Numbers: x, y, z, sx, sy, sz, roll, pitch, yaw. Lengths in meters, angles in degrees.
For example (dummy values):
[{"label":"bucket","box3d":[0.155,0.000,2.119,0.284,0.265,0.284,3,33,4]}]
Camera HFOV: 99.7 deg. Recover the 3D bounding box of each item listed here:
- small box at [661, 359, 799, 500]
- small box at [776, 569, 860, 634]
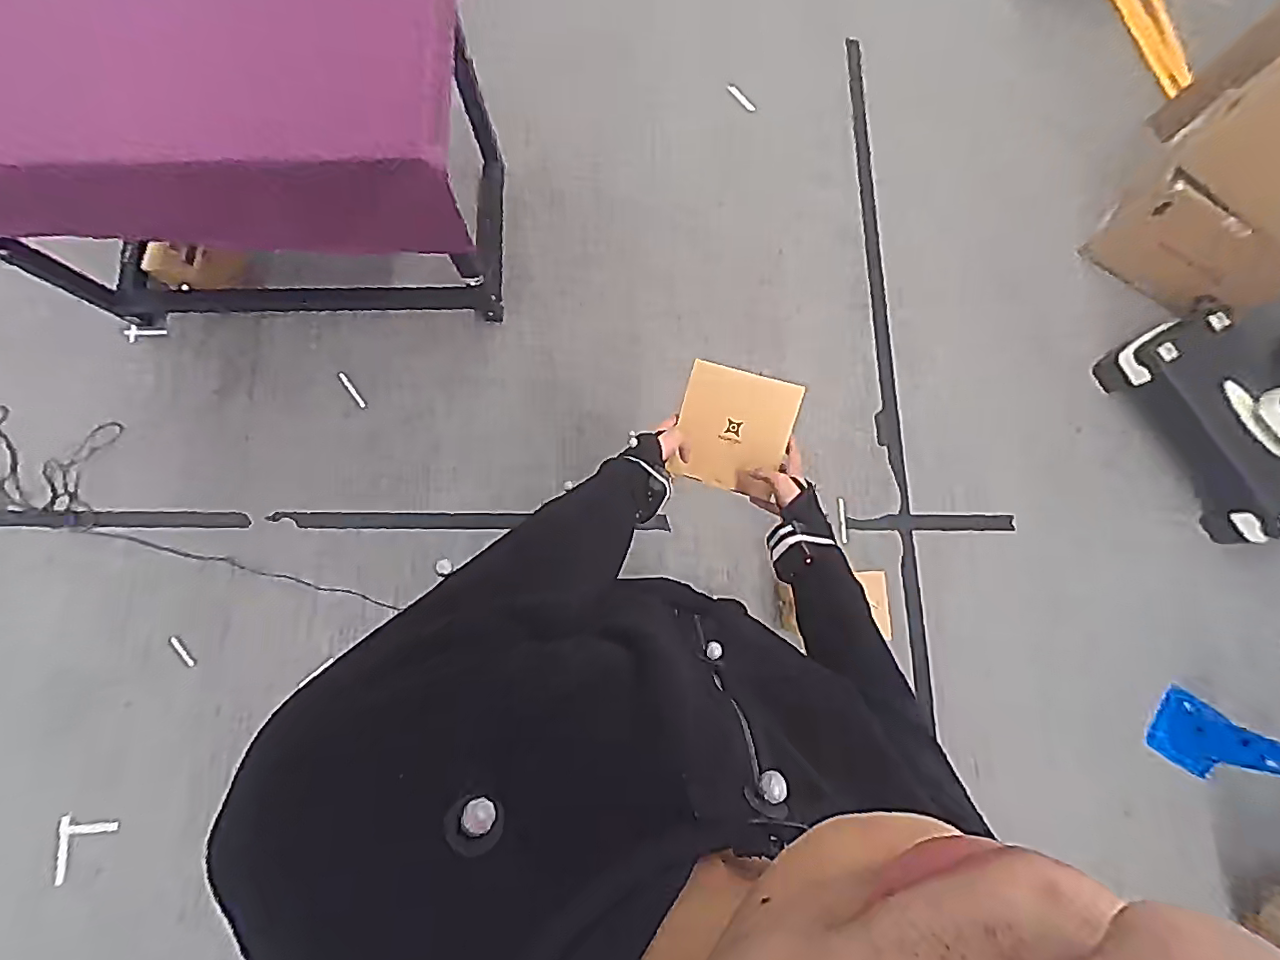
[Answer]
[{"label":"small box","box3d":[0.143,-0.087,0.875,0.168,0.176,0.179,16,103,8]},{"label":"small box","box3d":[0.506,0.346,1.555,0.179,0.176,0.168,-4,81,-1]}]
